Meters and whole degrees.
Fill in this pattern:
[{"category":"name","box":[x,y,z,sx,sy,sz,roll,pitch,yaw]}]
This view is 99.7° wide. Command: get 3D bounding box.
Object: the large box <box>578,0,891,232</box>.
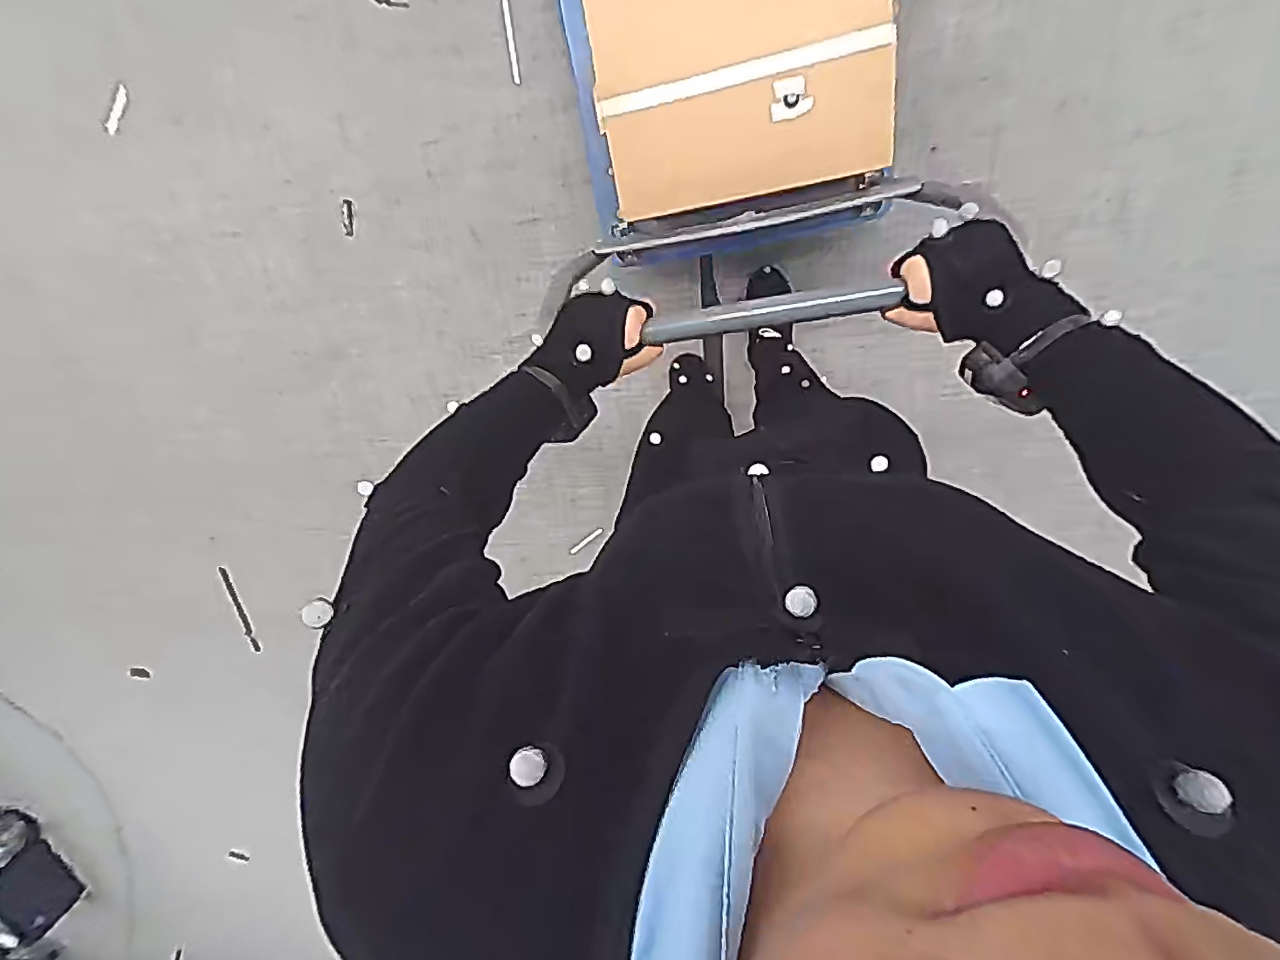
[{"category":"large box","box":[0.155,-0.619,0.883,0.408,0.320,0.320,-7,117,12]}]
